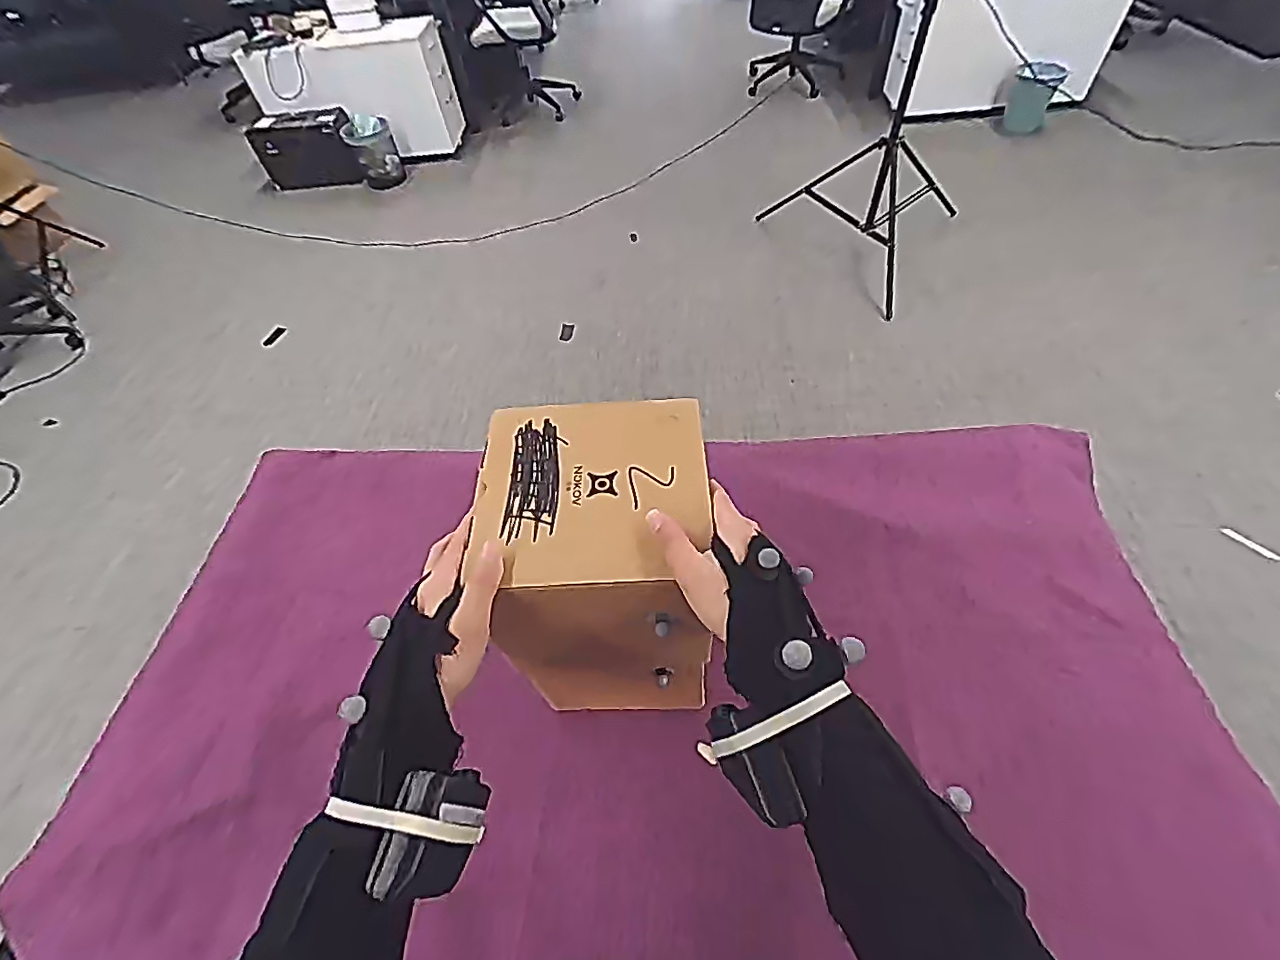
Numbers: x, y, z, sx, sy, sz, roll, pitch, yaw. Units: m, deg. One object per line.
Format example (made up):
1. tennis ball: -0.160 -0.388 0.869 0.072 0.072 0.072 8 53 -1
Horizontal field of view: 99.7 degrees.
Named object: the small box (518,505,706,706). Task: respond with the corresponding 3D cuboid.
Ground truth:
1. small box: -0.019 0.144 0.598 0.179 0.176 0.168 -2 52 3
